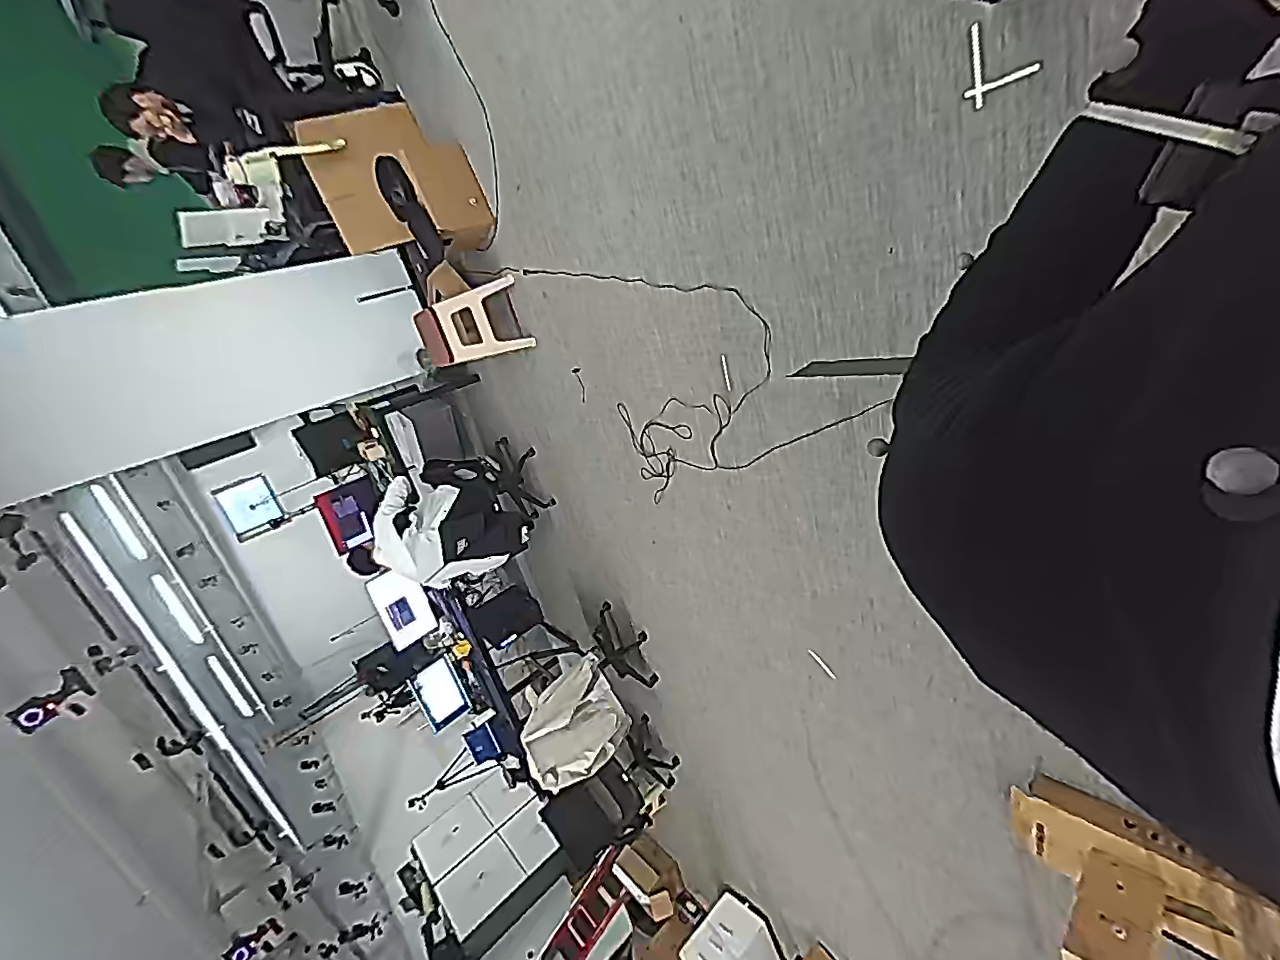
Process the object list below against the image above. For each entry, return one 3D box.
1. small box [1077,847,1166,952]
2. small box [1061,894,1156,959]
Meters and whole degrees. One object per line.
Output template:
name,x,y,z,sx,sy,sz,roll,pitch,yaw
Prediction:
small box,1.372,1.208,1.543,0.168,0.176,0.179,7,121,51
small box,1.259,1.279,1.448,0.168,0.176,0.179,3,118,51
